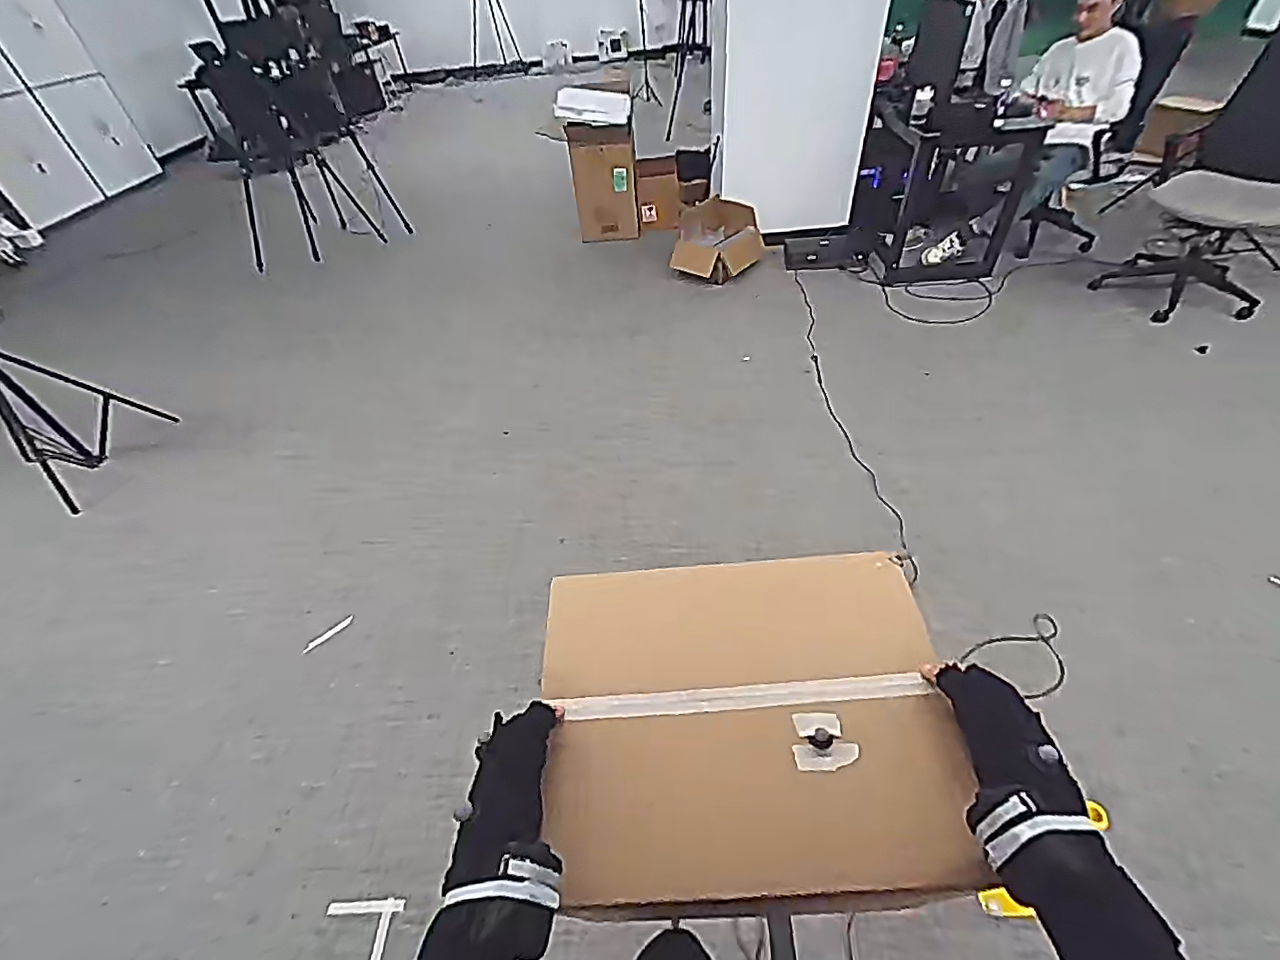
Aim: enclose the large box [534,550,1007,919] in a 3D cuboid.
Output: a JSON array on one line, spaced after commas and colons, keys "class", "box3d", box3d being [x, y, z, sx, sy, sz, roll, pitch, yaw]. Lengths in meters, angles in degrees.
[{"class": "large box", "box3d": [0.111, 0.313, 0.656, 0.408, 0.320, 0.320, -5, 49, 2]}]
